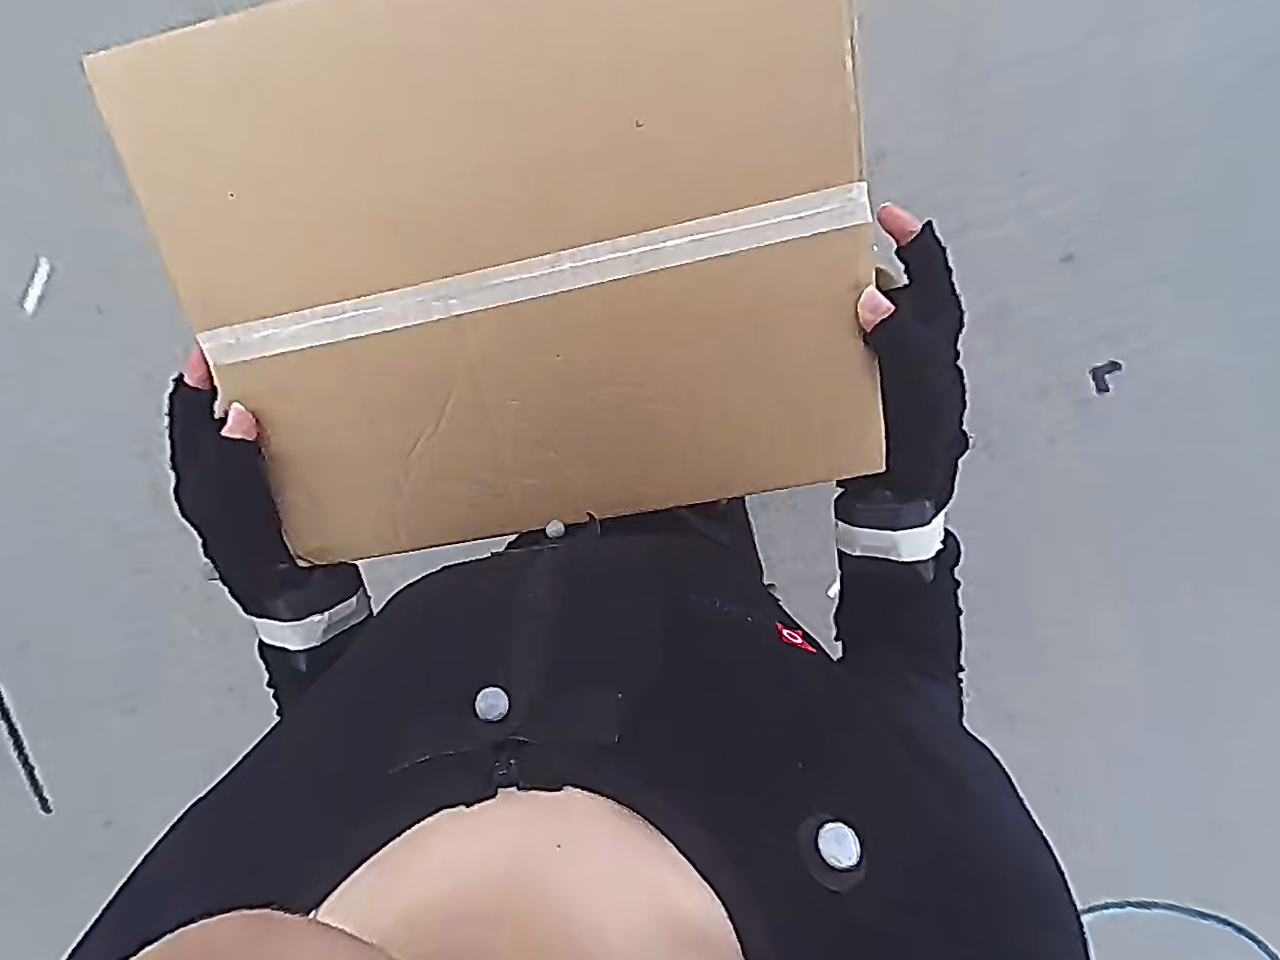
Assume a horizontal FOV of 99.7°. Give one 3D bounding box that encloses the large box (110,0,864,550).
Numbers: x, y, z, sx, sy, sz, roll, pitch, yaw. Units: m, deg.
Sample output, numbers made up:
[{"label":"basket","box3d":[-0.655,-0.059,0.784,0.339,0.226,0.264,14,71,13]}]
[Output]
[{"label":"large box","box3d":[-0.069,-0.174,0.468,0.408,0.320,0.320,-10,107,6]}]
